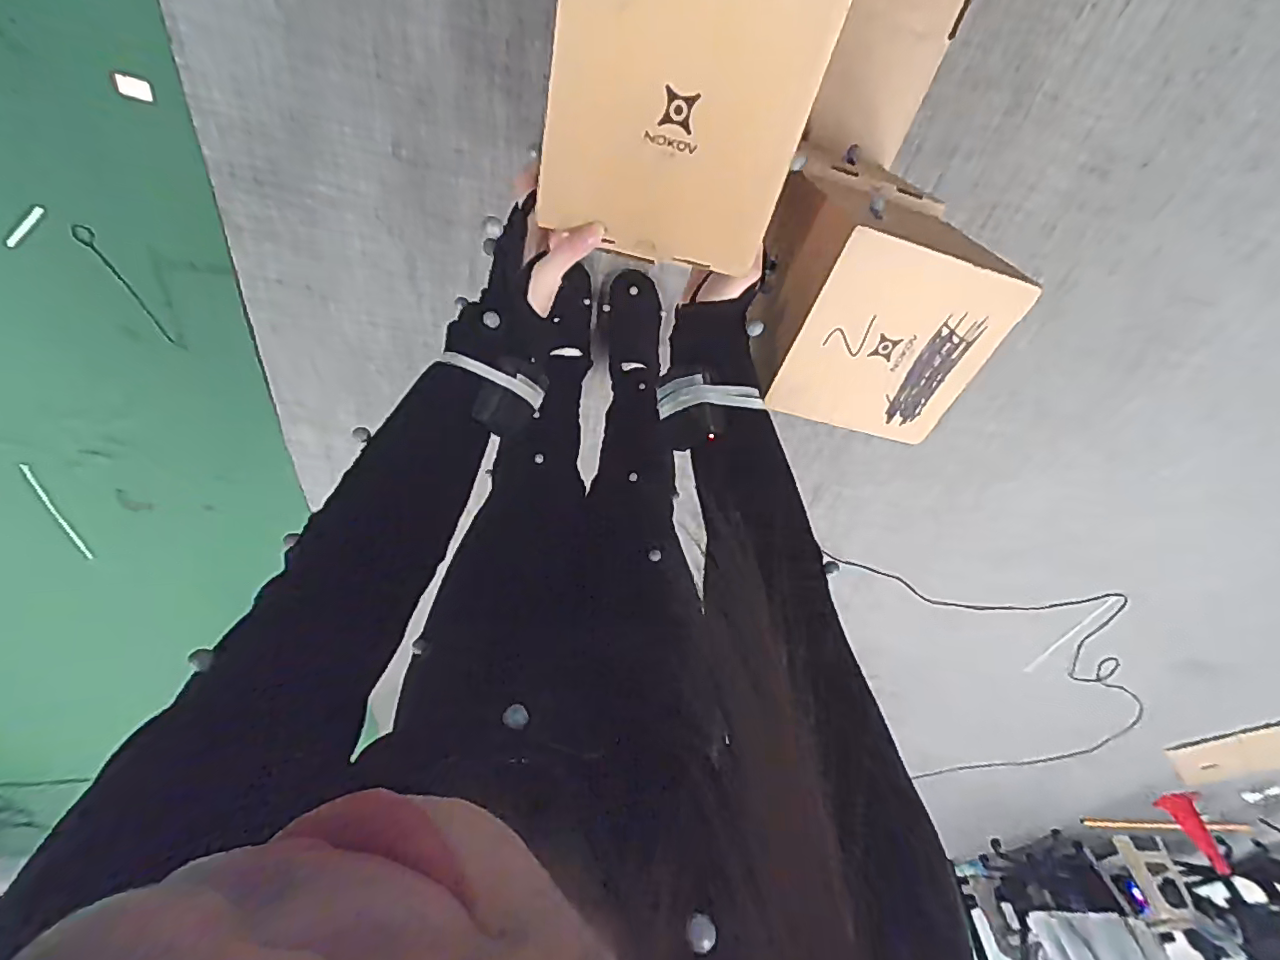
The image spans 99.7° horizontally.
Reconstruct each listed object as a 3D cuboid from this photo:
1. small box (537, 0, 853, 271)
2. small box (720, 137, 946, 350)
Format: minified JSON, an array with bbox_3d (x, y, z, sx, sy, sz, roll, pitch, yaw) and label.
[{"bbox_3d":[0.027,-0.291,0.405,0.168,0.176,0.179,12,133,-7],"label":"small box"},{"bbox_3d":[0.204,-0.284,0.637,0.168,0.176,0.179,11,128,-12],"label":"small box"}]
